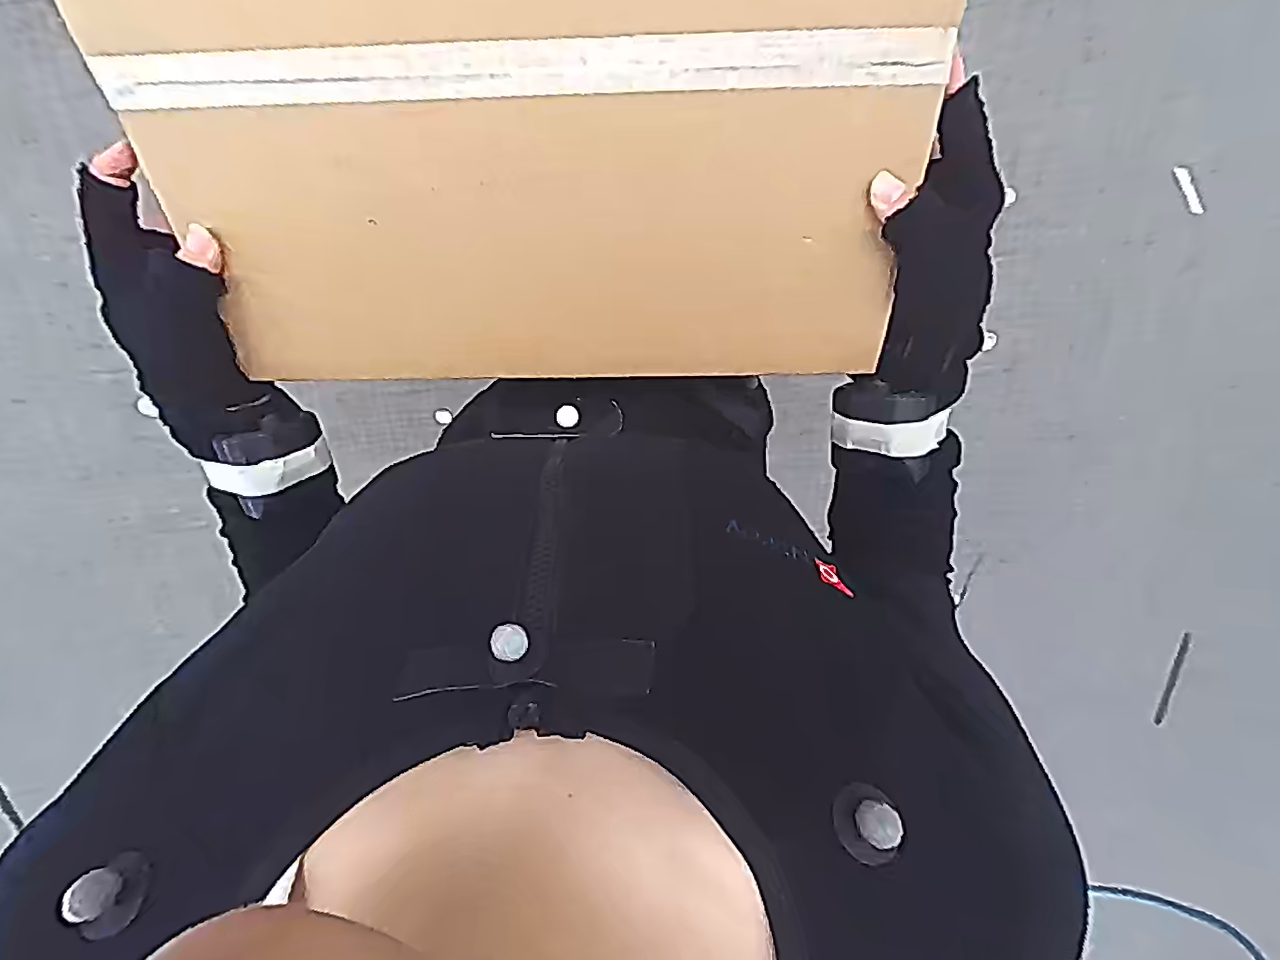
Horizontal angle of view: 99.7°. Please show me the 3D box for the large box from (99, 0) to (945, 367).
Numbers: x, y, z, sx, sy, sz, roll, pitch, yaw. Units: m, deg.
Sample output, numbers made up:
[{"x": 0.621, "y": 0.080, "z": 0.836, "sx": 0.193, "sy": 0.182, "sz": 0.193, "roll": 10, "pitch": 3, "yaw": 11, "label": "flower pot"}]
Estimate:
[{"x": -0.056, "y": -0.289, "z": 0.387, "sx": 0.408, "sy": 0.320, "sz": 0.320, "roll": -1, "pitch": 126, "yaw": 1, "label": "large box"}]
